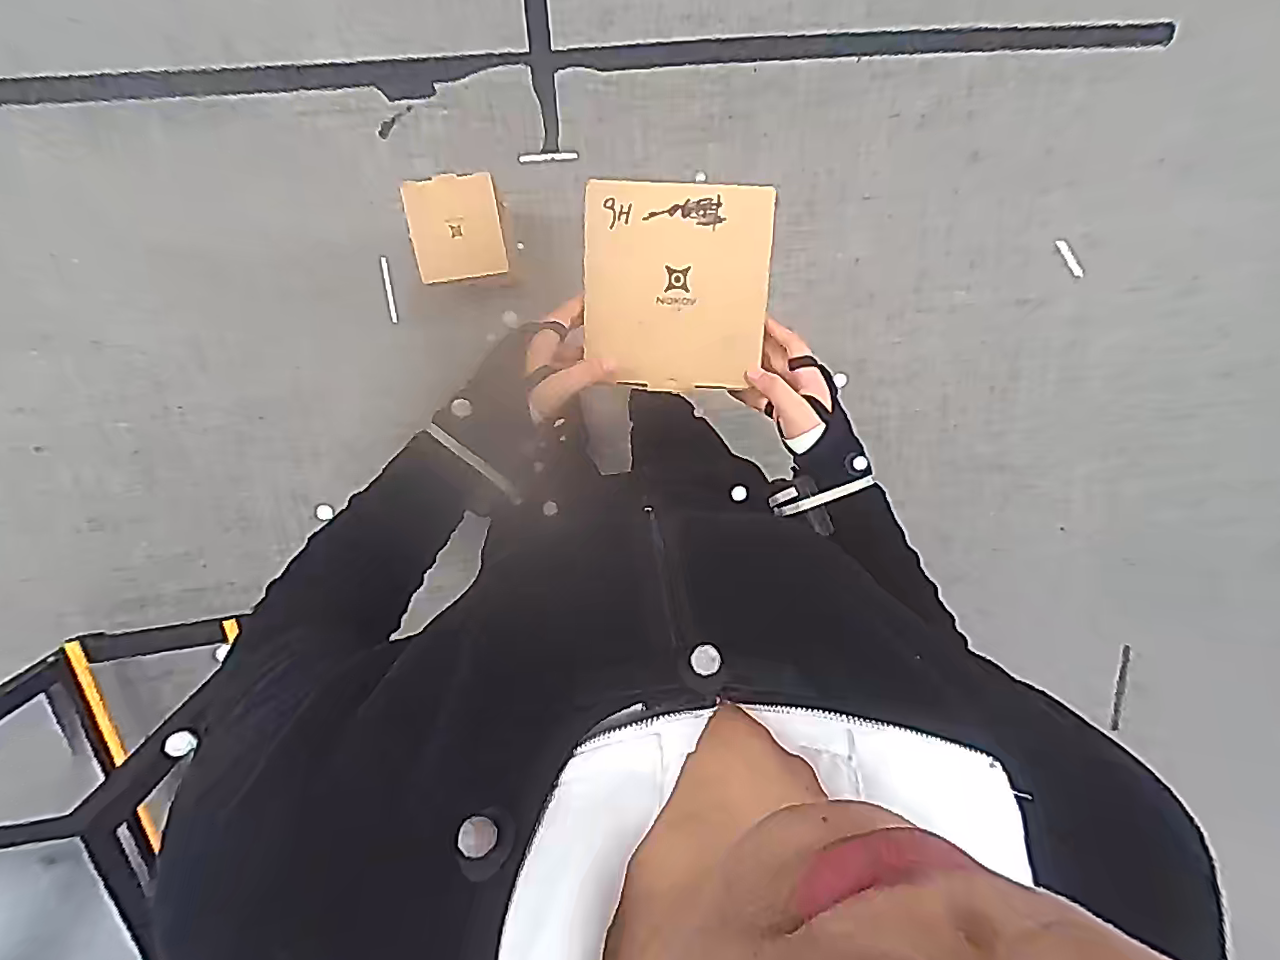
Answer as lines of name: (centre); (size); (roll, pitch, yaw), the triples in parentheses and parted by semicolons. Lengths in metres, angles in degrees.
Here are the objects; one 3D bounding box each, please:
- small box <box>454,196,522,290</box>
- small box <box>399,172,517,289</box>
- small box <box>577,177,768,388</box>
small box: (-0.374, -0.529, 1.225); (0.179, 0.176, 0.168); (-9, 107, -6)
small box: (-0.349, -0.484, 1.071); (0.168, 0.176, 0.179); (-10, 108, -3)
small box: (0.028, -0.197, 0.564); (0.168, 0.176, 0.179); (2, 106, 0)
